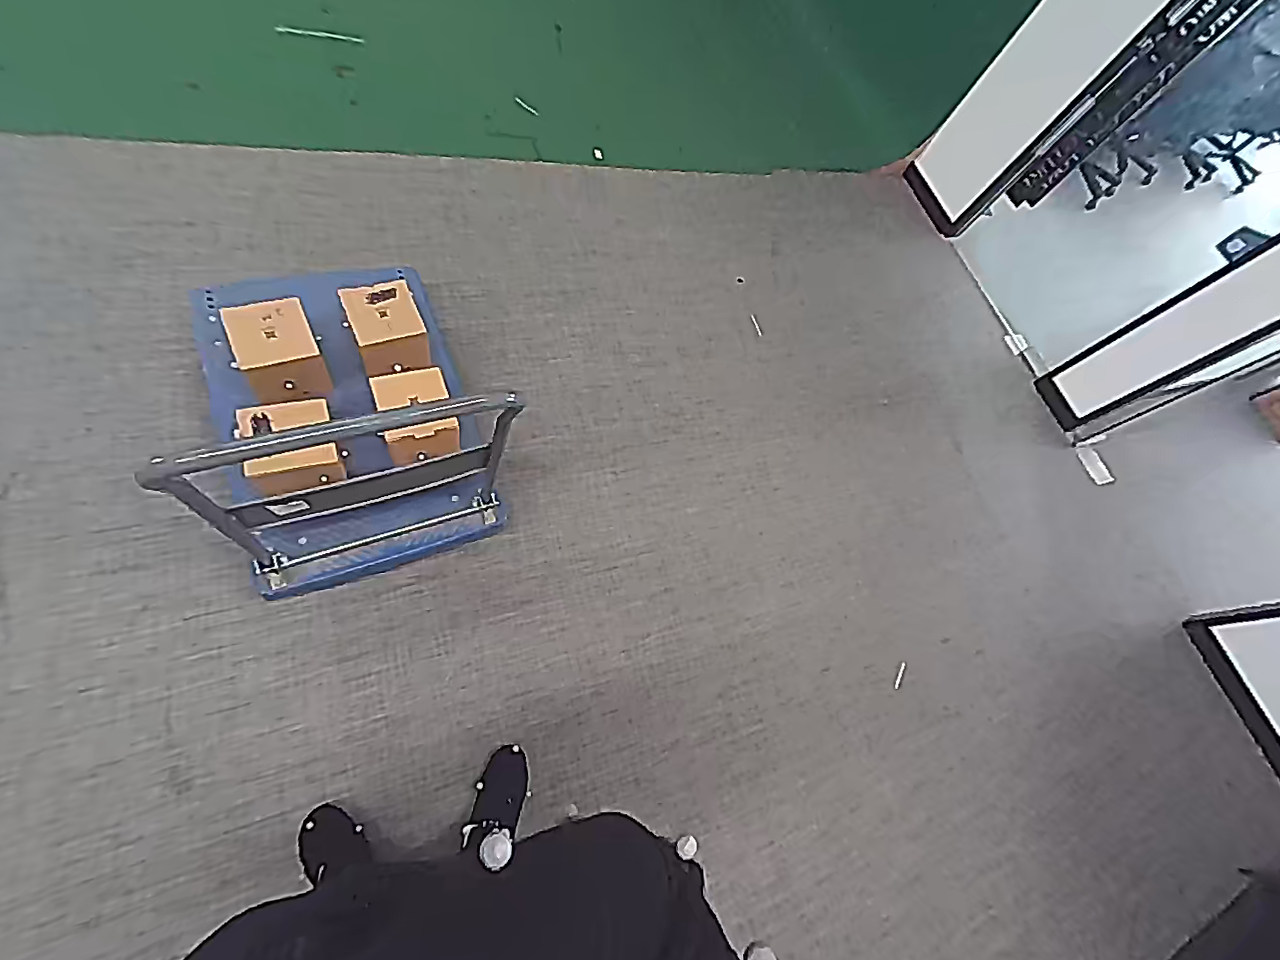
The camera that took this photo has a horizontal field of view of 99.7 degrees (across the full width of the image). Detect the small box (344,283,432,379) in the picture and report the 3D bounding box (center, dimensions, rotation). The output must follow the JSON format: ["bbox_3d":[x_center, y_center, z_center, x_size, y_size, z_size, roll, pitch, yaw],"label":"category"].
[{"bbox_3d":[-0.675,-0.397,1.458,0.168,0.176,0.179,-21,77,-24],"label":"small box"}]

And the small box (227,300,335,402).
[{"bbox_3d":[-0.886,-0.313,1.350,0.168,0.176,0.179,-21,75,-26],"label":"small box"}]

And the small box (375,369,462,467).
[{"bbox_3d":[-0.568,-0.158,1.391,0.168,0.176,0.179,-16,74,-24],"label":"small box"}]
